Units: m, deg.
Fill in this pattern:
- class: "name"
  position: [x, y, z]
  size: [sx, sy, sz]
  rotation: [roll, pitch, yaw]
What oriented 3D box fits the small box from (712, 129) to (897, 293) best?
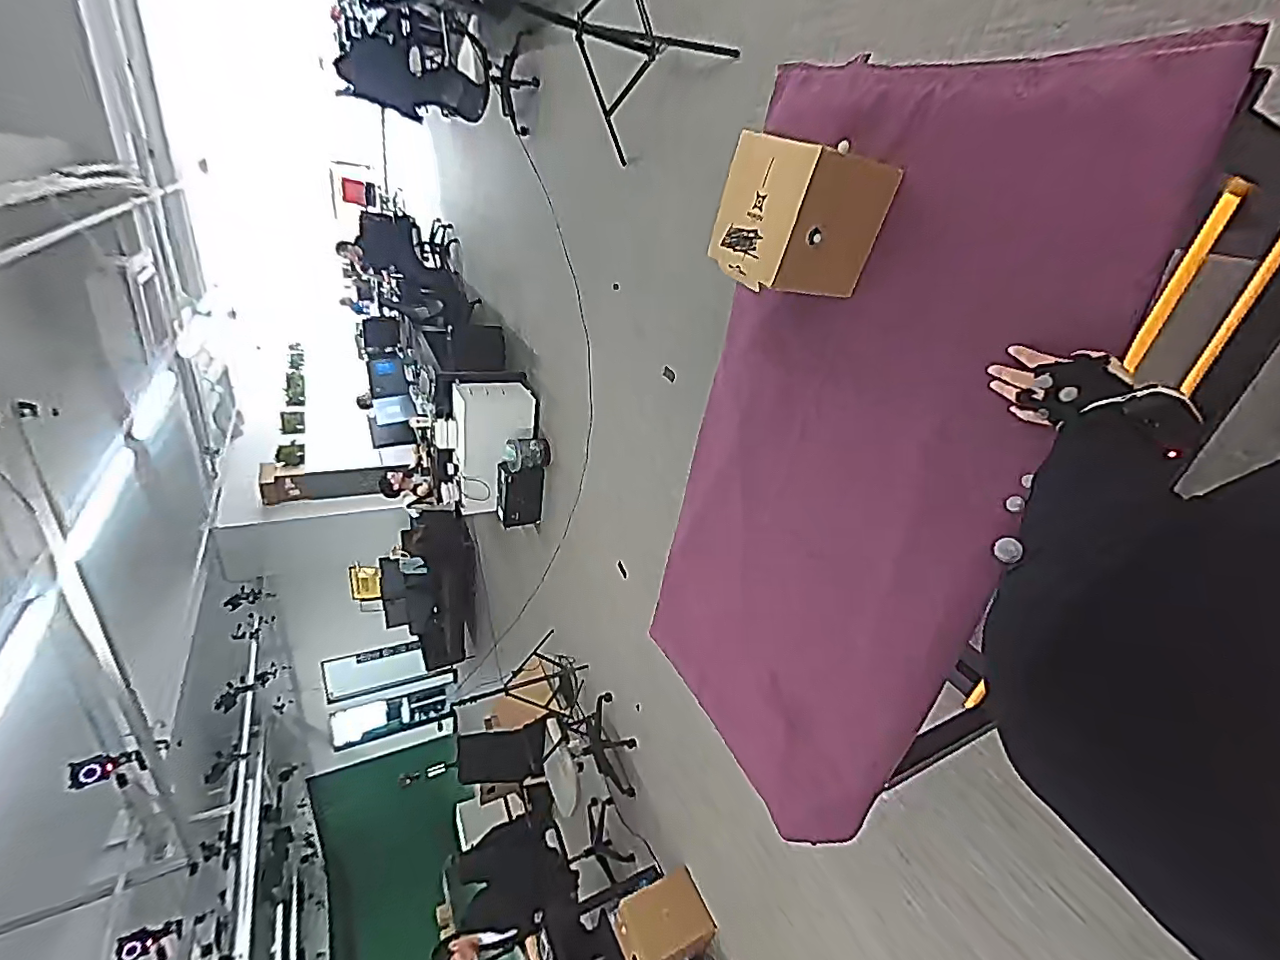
- class: "small box"
  position: [0.238, -0.389, 0.797]
  size: [0.168, 0.176, 0.179]
  rotation: [51, 137, 42]
